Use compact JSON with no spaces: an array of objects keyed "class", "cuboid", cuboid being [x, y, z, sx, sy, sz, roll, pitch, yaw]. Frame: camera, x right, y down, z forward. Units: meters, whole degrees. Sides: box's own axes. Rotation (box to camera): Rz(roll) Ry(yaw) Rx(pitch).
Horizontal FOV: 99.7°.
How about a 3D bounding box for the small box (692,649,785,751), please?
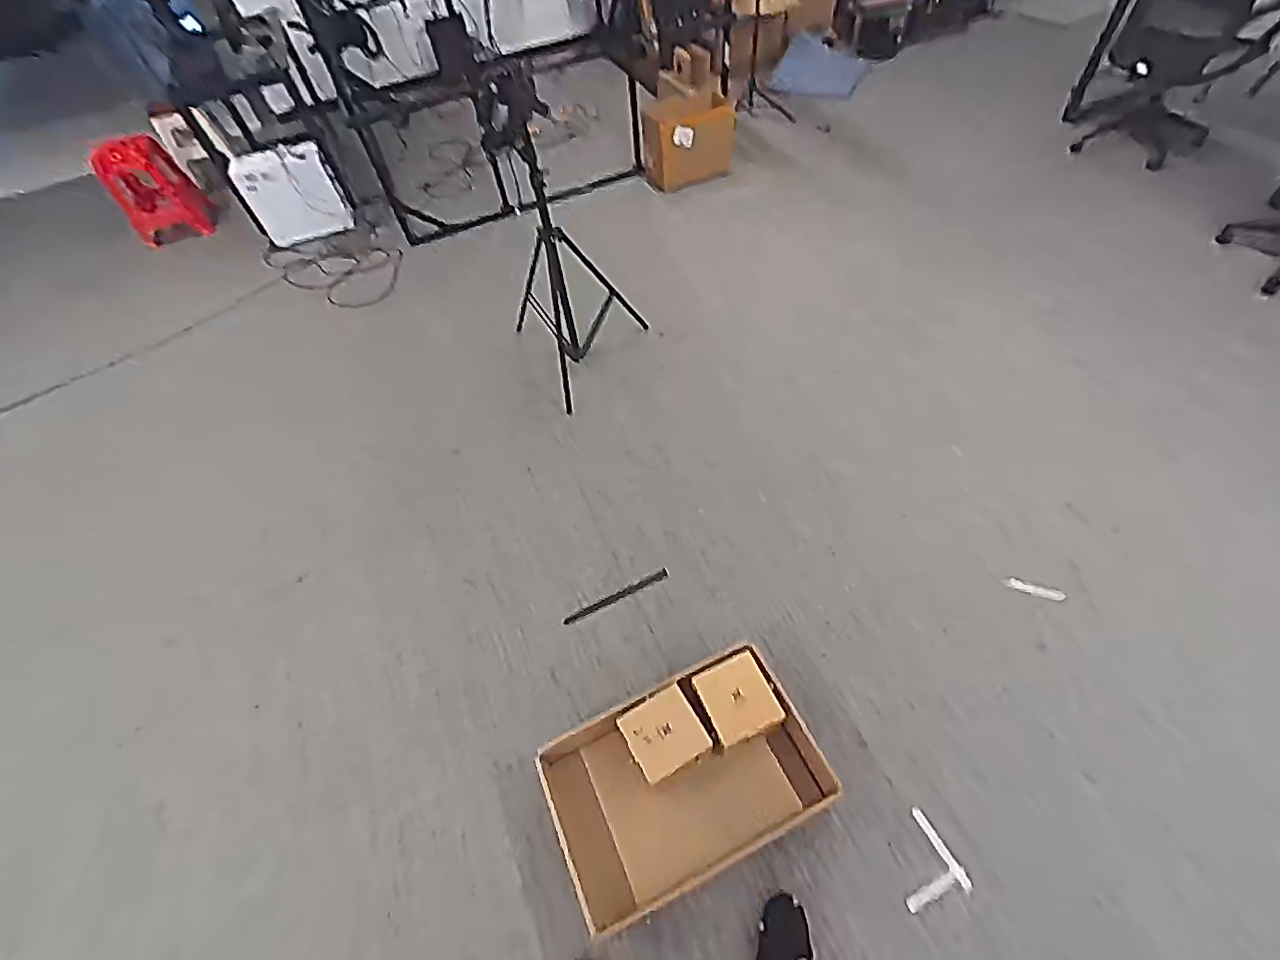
[{"class":"small box","cuboid":[0.242,0.565,1.379,0.168,0.176,0.179,-24,59,-9]}]
